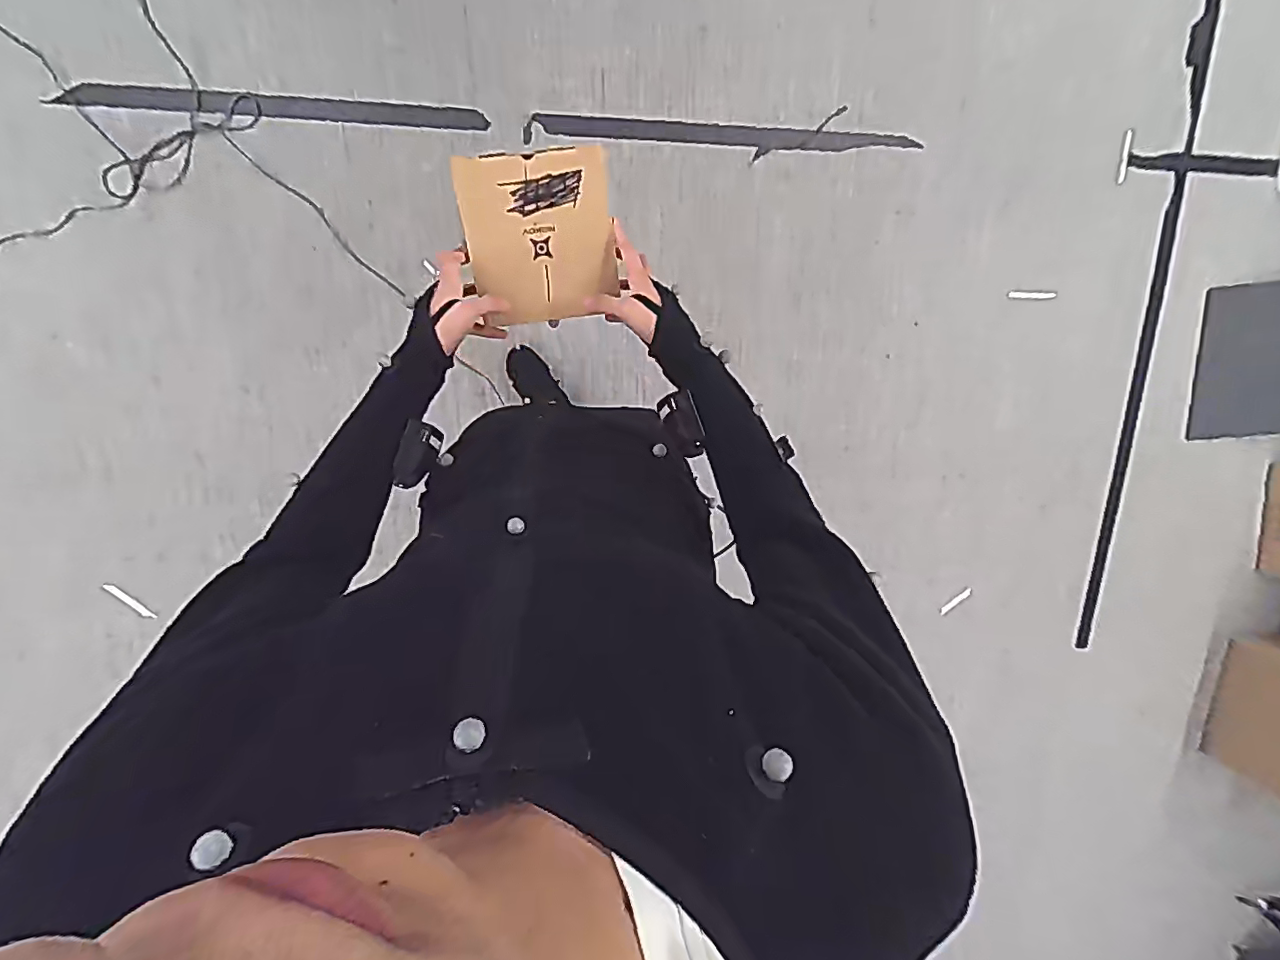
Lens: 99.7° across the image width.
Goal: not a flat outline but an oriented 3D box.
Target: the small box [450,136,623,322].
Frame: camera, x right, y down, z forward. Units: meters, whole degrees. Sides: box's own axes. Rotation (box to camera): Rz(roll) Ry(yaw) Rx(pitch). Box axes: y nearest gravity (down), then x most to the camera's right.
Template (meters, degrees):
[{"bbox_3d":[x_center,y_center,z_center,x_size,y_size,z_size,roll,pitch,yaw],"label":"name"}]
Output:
[{"bbox_3d":[-0.118,-0.297,0.664,0.168,0.176,0.179,-8,112,-3],"label":"small box"}]
